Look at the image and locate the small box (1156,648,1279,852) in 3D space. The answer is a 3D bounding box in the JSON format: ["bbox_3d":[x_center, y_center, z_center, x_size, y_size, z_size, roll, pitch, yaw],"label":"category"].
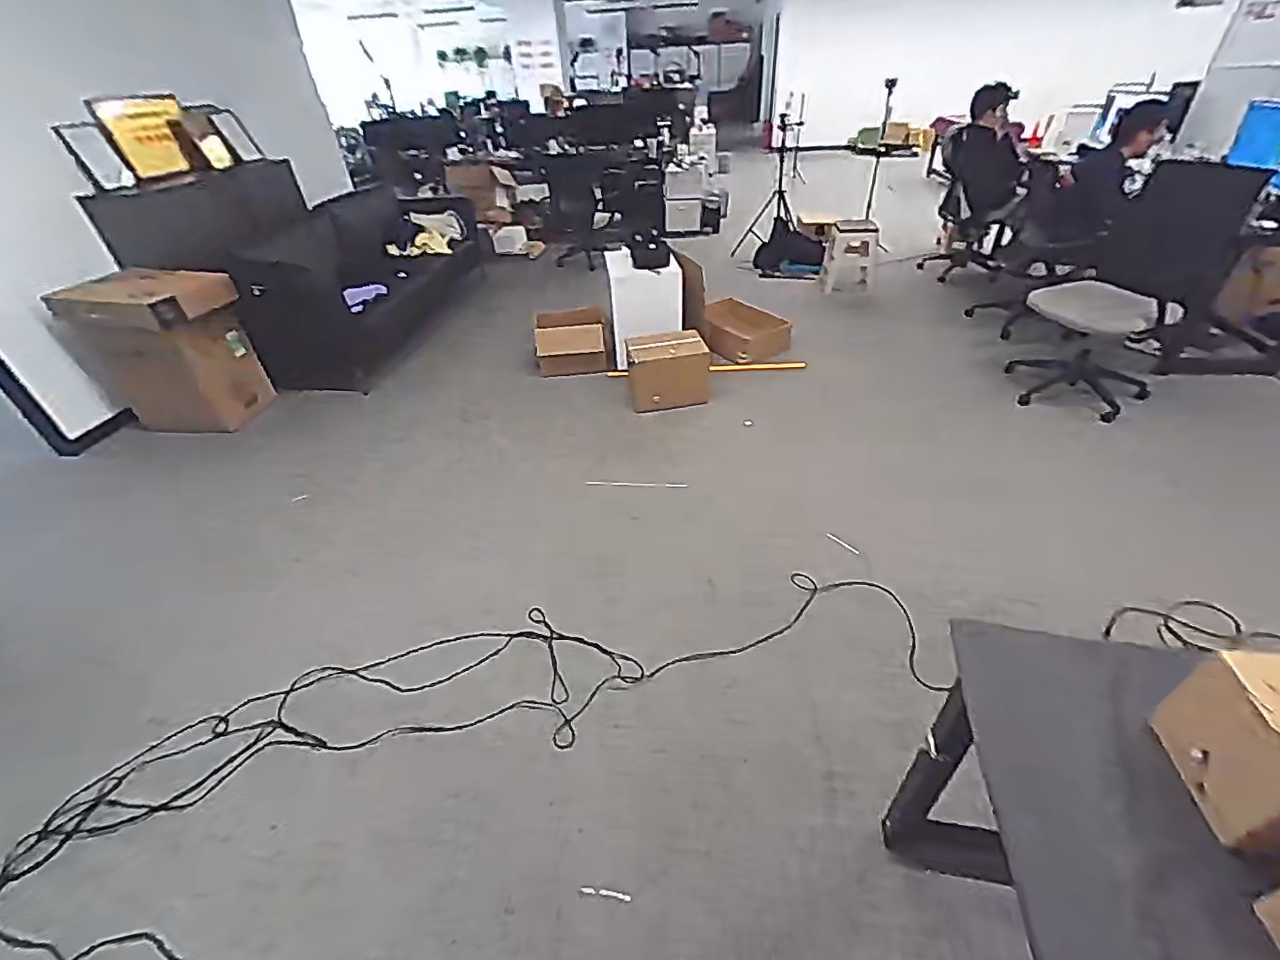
[{"bbox_3d":[0.790,0.327,0.640,0.179,0.176,0.168,4,38,9],"label":"small box"}]
